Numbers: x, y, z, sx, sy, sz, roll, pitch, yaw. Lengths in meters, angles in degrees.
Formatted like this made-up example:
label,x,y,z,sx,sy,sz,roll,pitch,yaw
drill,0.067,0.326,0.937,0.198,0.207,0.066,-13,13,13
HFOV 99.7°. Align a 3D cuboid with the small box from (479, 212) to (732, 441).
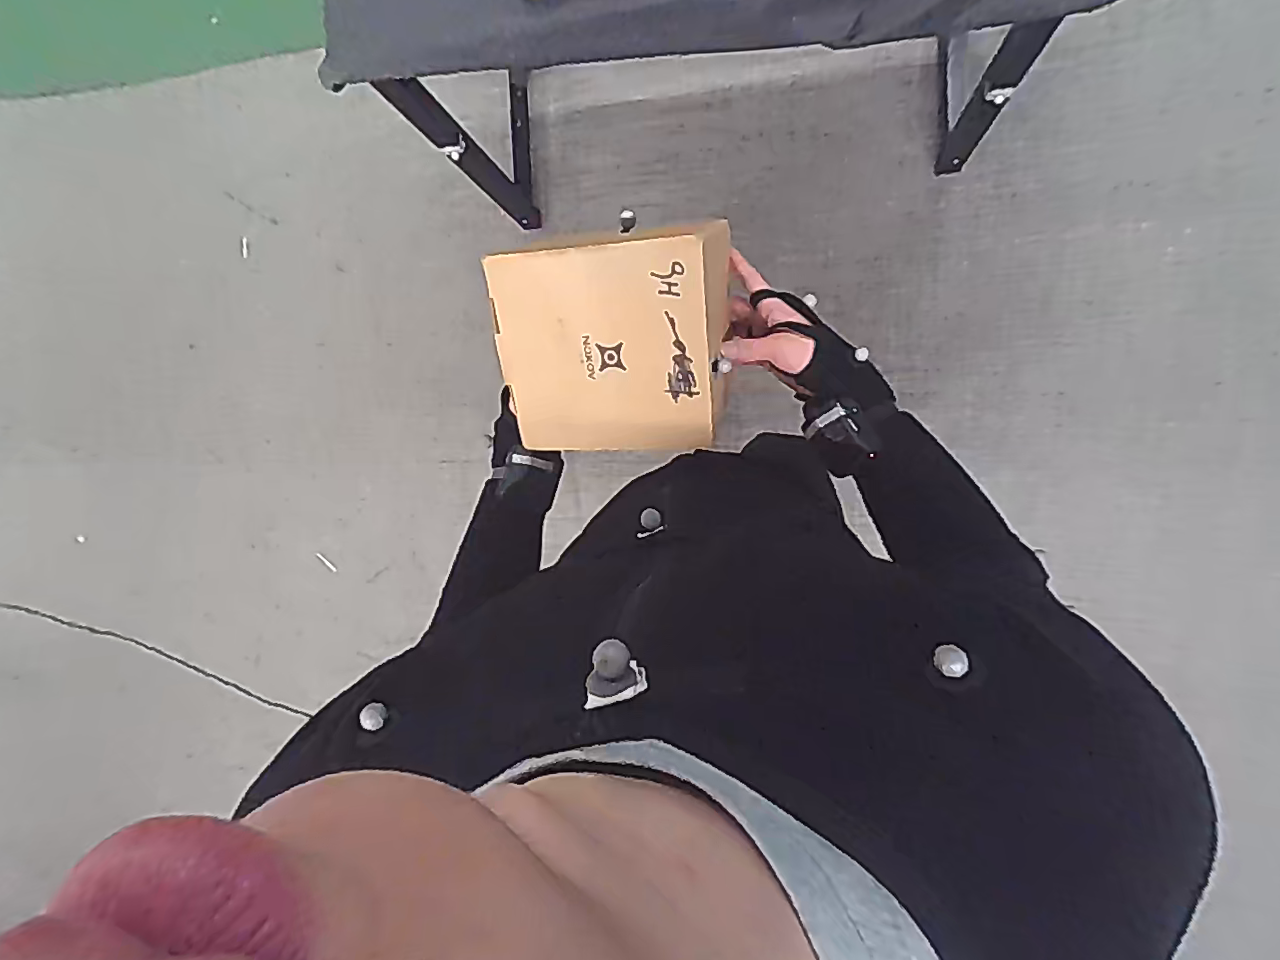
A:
label,x,y,z,sx,sy,sz,roll,pitch,yaw
small box,-0.015,-0.146,0.496,0.179,0.176,0.168,3,119,16
